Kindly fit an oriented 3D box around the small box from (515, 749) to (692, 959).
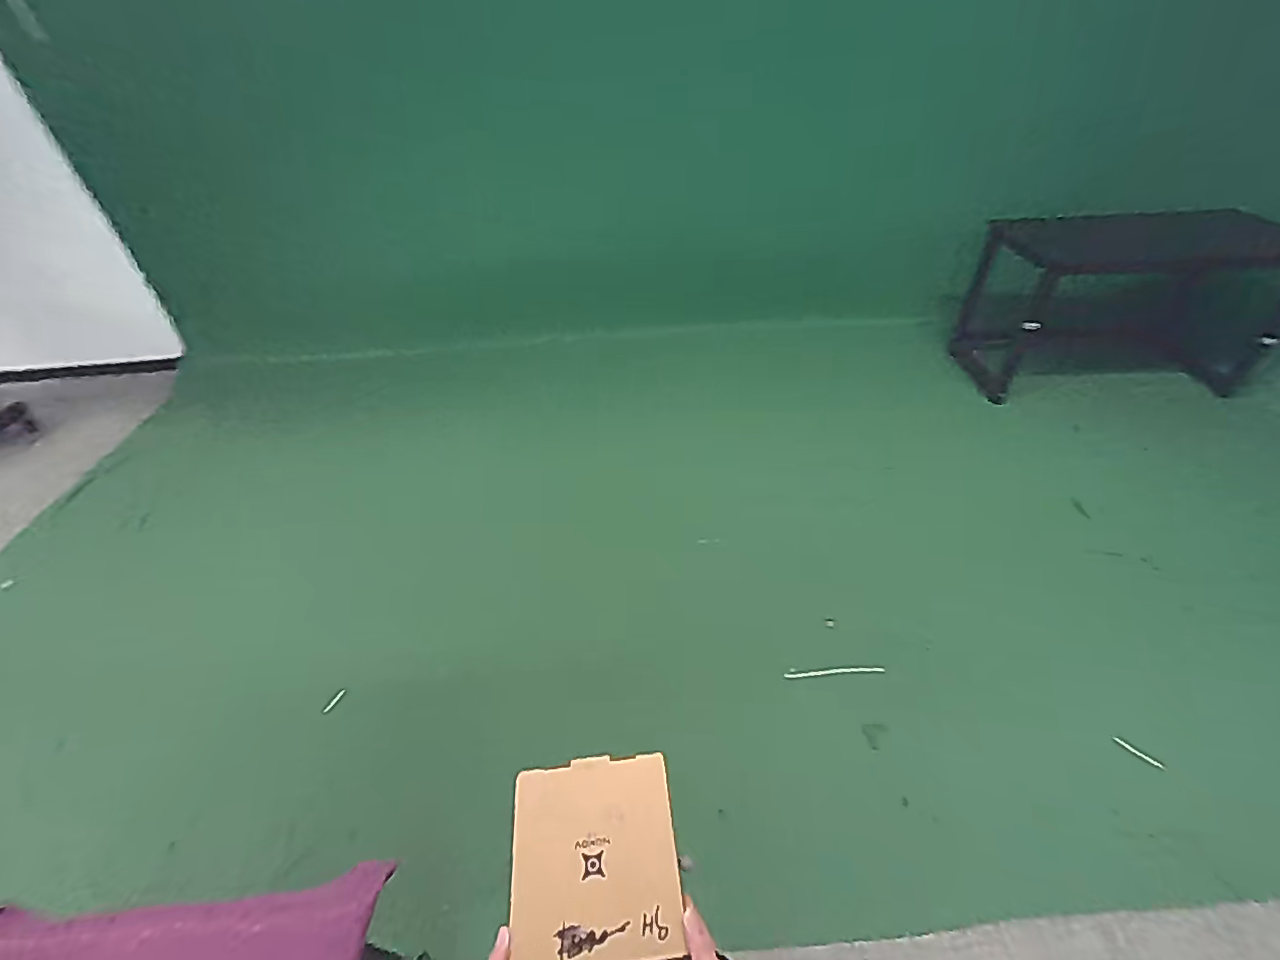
[{"bbox_3d":[-0.034,0.430,0.613,0.168,0.176,0.179,-7,47,1],"label":"small box"}]
